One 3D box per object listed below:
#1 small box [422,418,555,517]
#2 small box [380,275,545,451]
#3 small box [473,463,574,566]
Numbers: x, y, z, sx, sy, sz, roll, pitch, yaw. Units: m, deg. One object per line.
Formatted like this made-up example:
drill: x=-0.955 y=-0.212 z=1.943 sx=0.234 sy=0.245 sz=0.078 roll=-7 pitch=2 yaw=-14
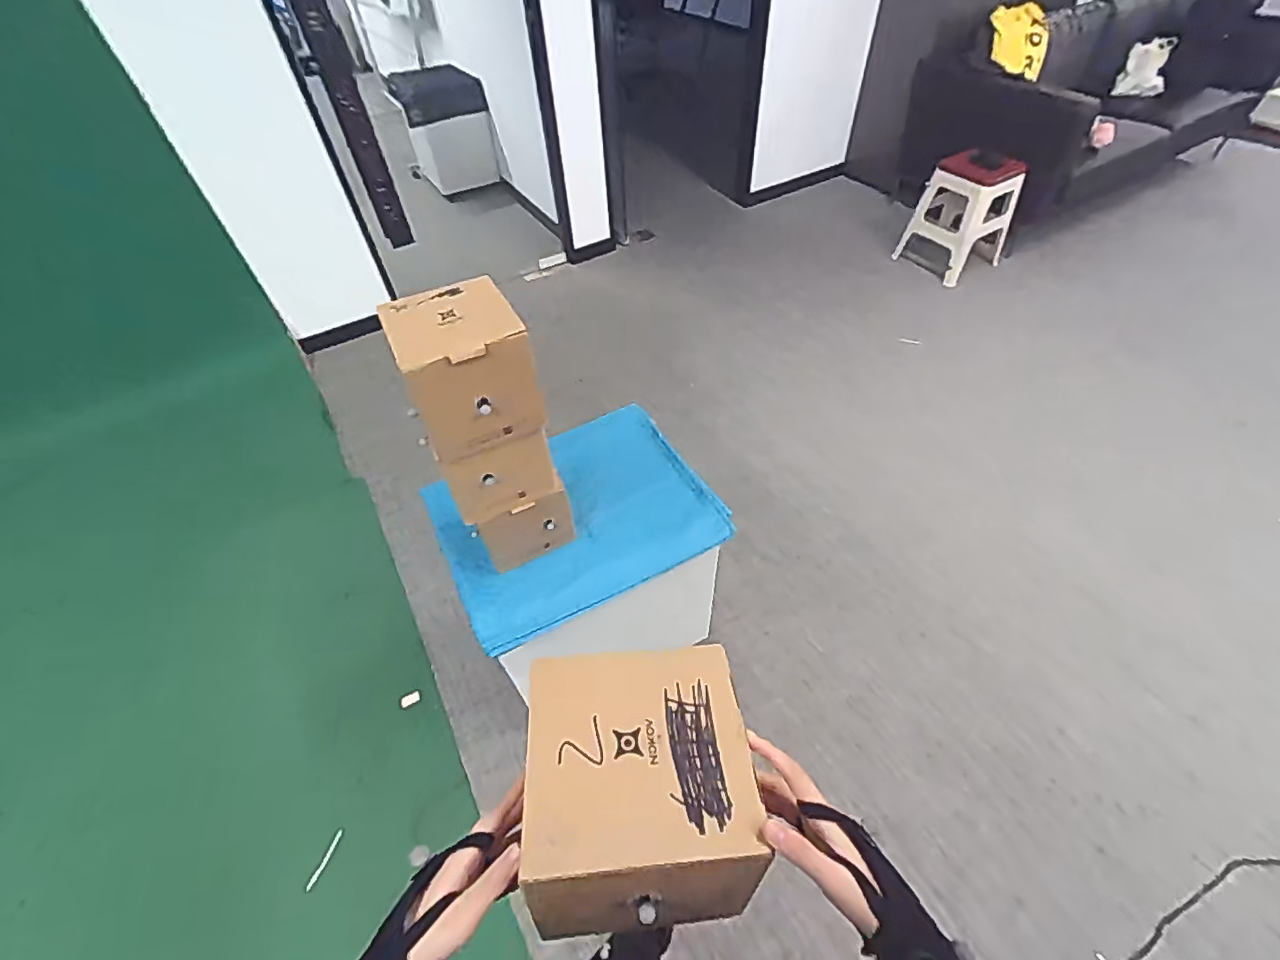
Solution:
small box: x=-0.254 y=-0.060 z=0.911 sx=0.168 sy=0.176 sz=0.179 roll=-22 pitch=51 yaw=-16
small box: x=-0.250 y=-0.163 z=0.783 sx=0.168 sy=0.176 sz=0.179 roll=-22 pitch=51 yaw=-16
small box: x=-0.238 y=0.042 z=1.037 sx=0.168 sy=0.176 sz=0.179 roll=-23 pitch=51 yaw=-17
